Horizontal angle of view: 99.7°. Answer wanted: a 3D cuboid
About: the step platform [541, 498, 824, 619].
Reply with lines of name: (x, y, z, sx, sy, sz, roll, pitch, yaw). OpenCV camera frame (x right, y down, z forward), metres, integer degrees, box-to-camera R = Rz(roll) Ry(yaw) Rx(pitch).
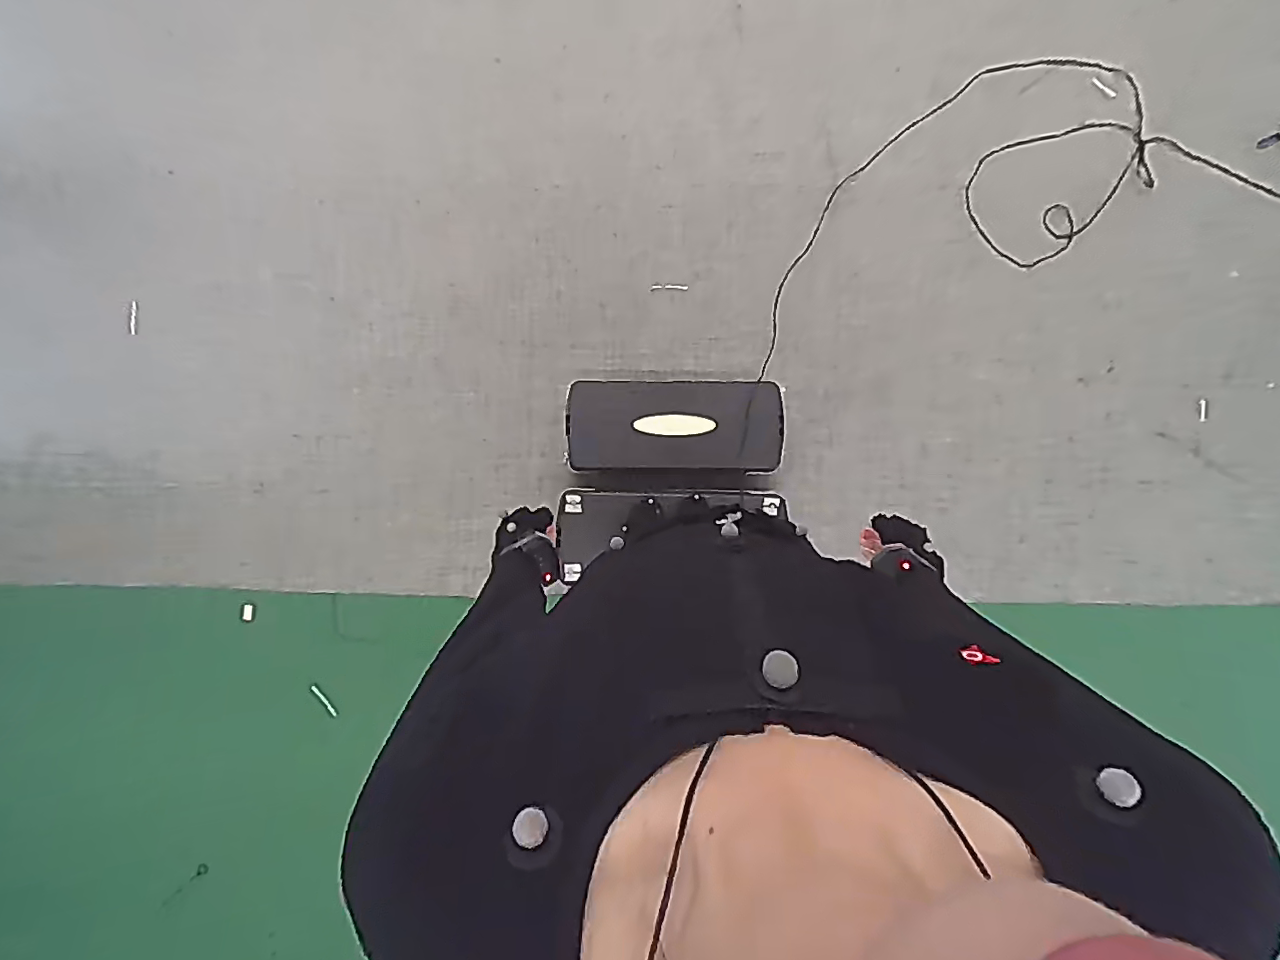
step platform: (0.102, 0.192, 1.393, 0.684, 0.204, 0.286, 1, 87, 0)
